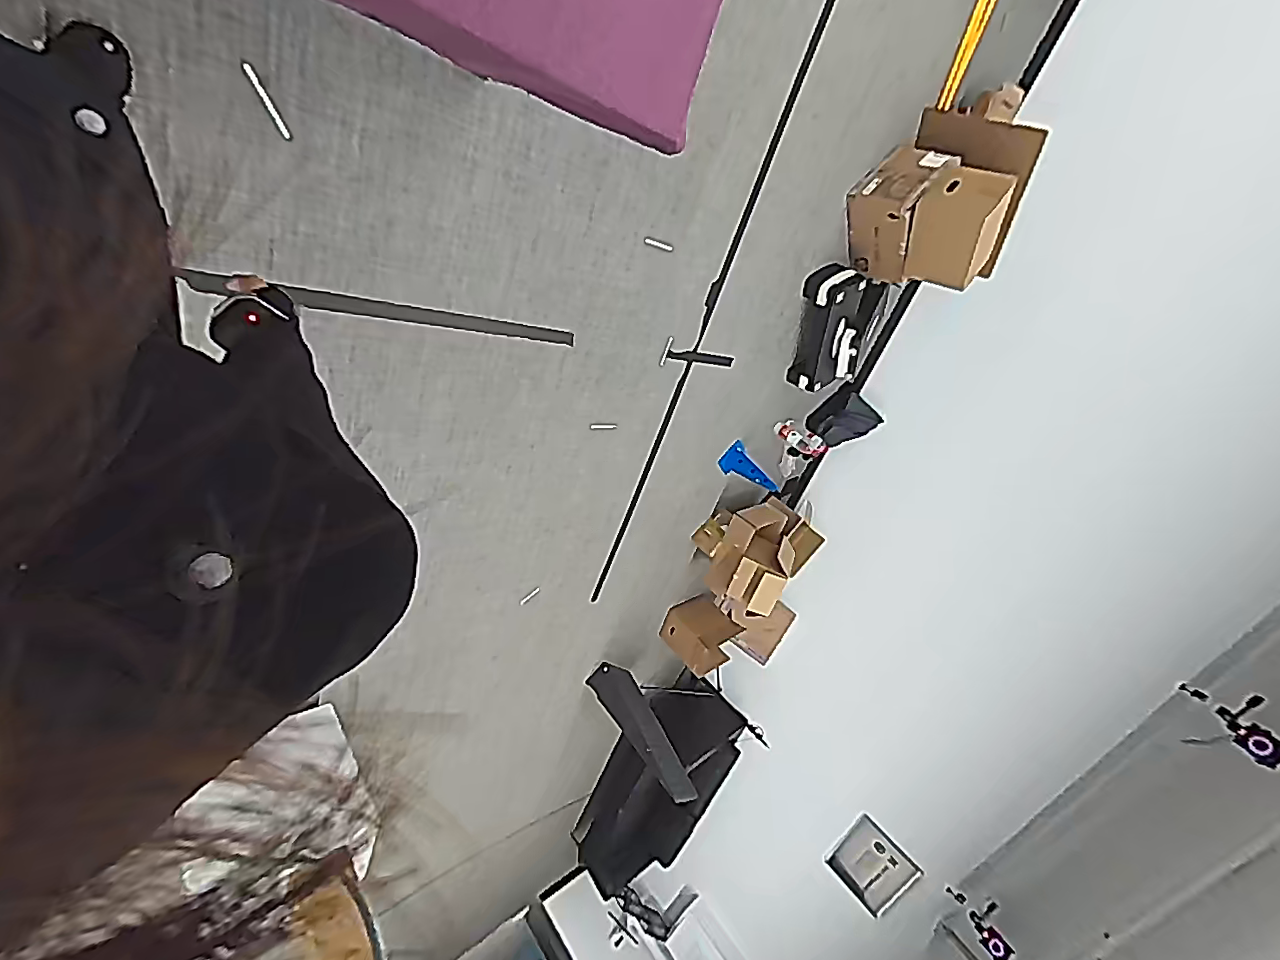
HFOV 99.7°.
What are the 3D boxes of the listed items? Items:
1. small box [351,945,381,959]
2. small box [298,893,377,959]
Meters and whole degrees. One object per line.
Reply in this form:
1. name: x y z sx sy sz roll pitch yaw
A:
1. small box: -0.873 1.569 1.631 0.179 0.176 0.168 -4 127 -48
2. small box: -0.972 1.480 1.726 0.168 0.176 0.179 -3 126 -49
